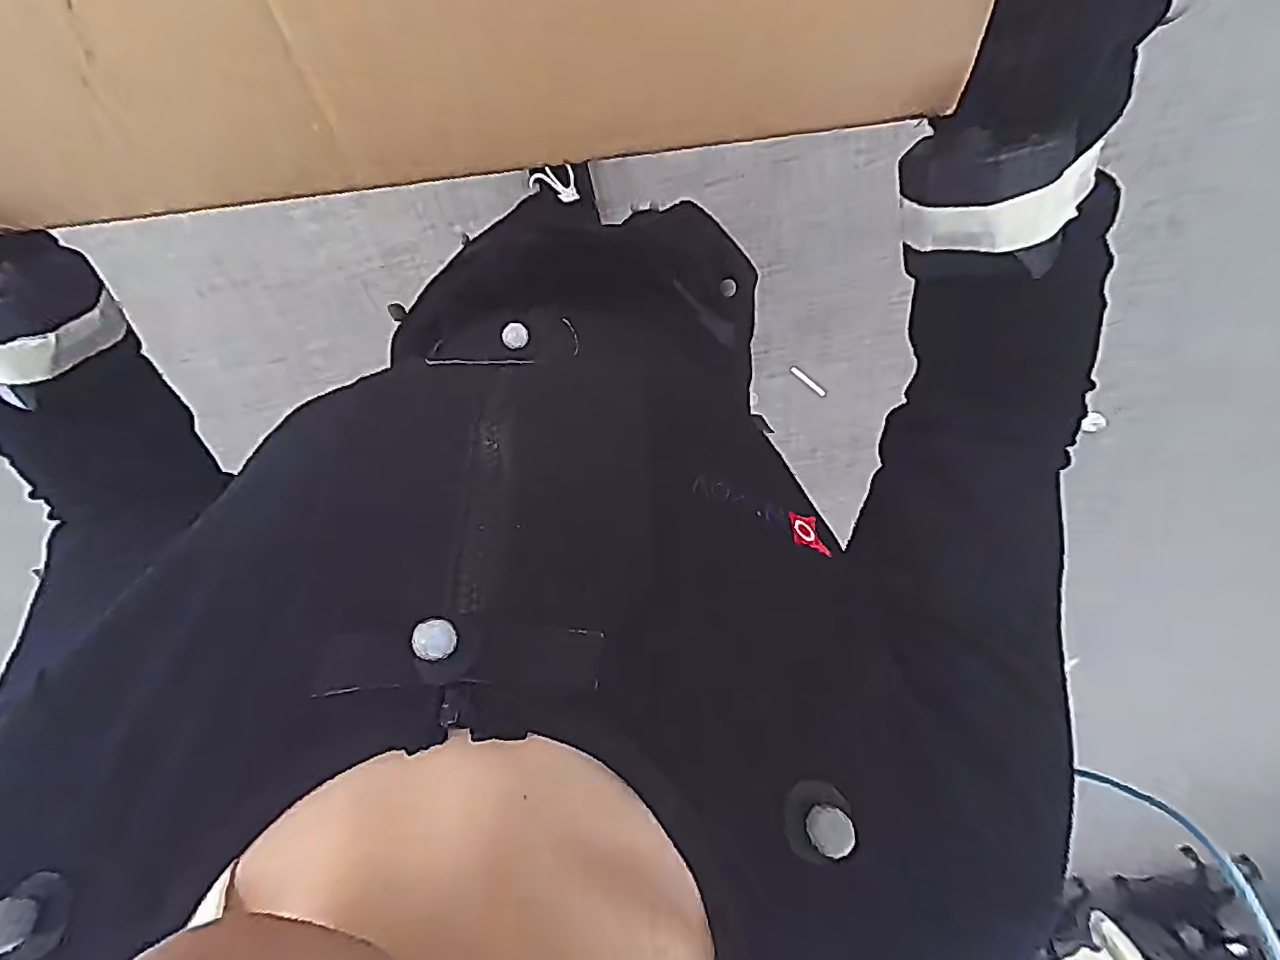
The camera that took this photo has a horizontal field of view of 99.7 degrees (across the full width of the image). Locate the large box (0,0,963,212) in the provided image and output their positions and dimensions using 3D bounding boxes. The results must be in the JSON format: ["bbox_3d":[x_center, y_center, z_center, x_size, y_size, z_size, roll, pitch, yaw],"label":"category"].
[{"bbox_3d":[-0.099,-0.344,0.180,0.408,0.320,0.320,-6,146,1],"label":"large box"}]
